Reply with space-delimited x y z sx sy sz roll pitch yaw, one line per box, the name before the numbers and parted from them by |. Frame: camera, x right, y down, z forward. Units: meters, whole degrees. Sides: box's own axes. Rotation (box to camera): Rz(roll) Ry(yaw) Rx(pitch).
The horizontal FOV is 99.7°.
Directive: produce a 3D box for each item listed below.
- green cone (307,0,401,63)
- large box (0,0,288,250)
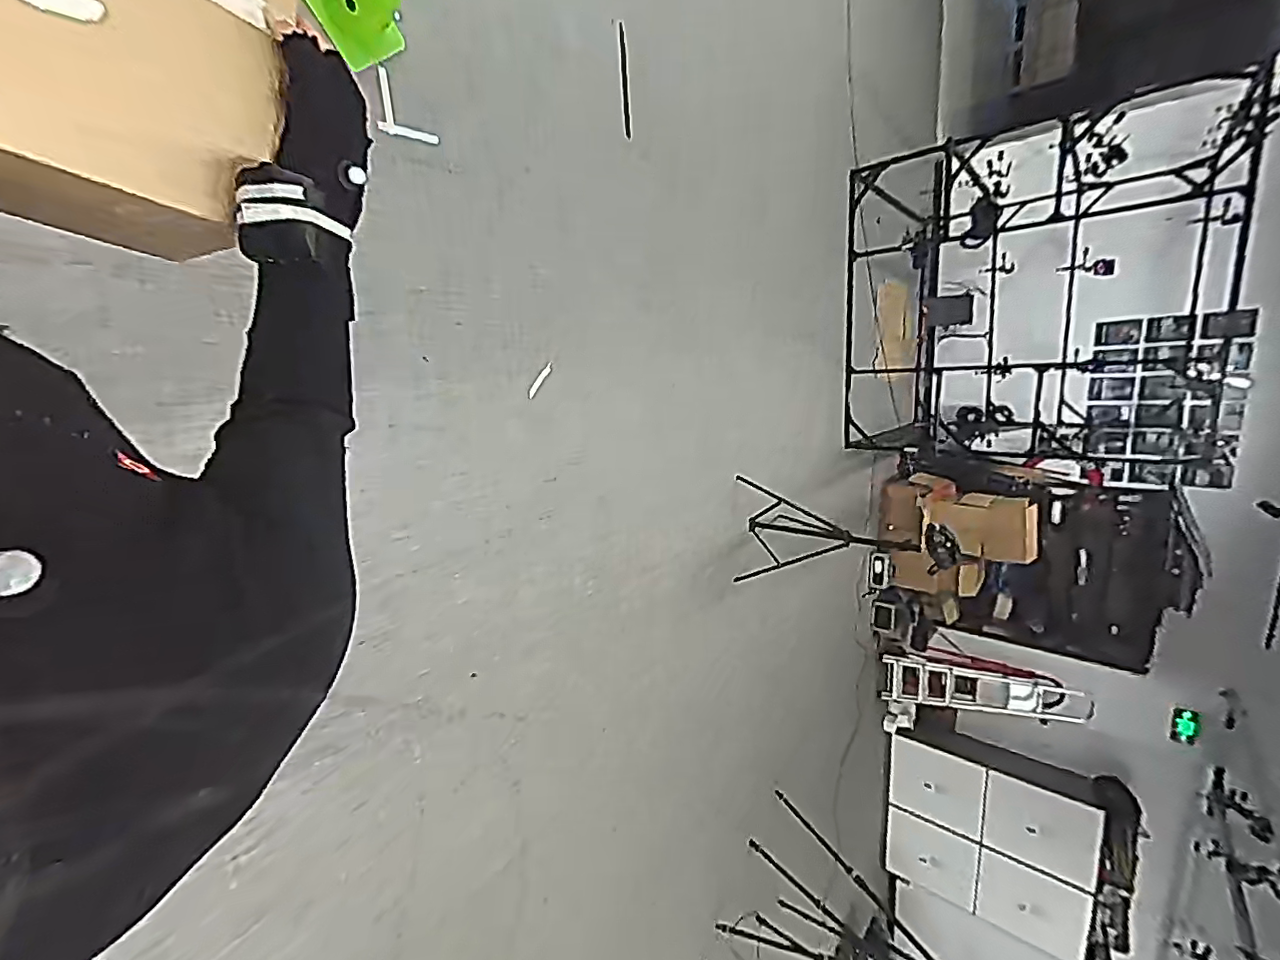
green cone | -0.587 -1.162 1.239 0.202 0.368 0.200 -58 135 -29
large box | -0.522 -0.391 0.366 0.408 0.320 0.320 3 98 -52
